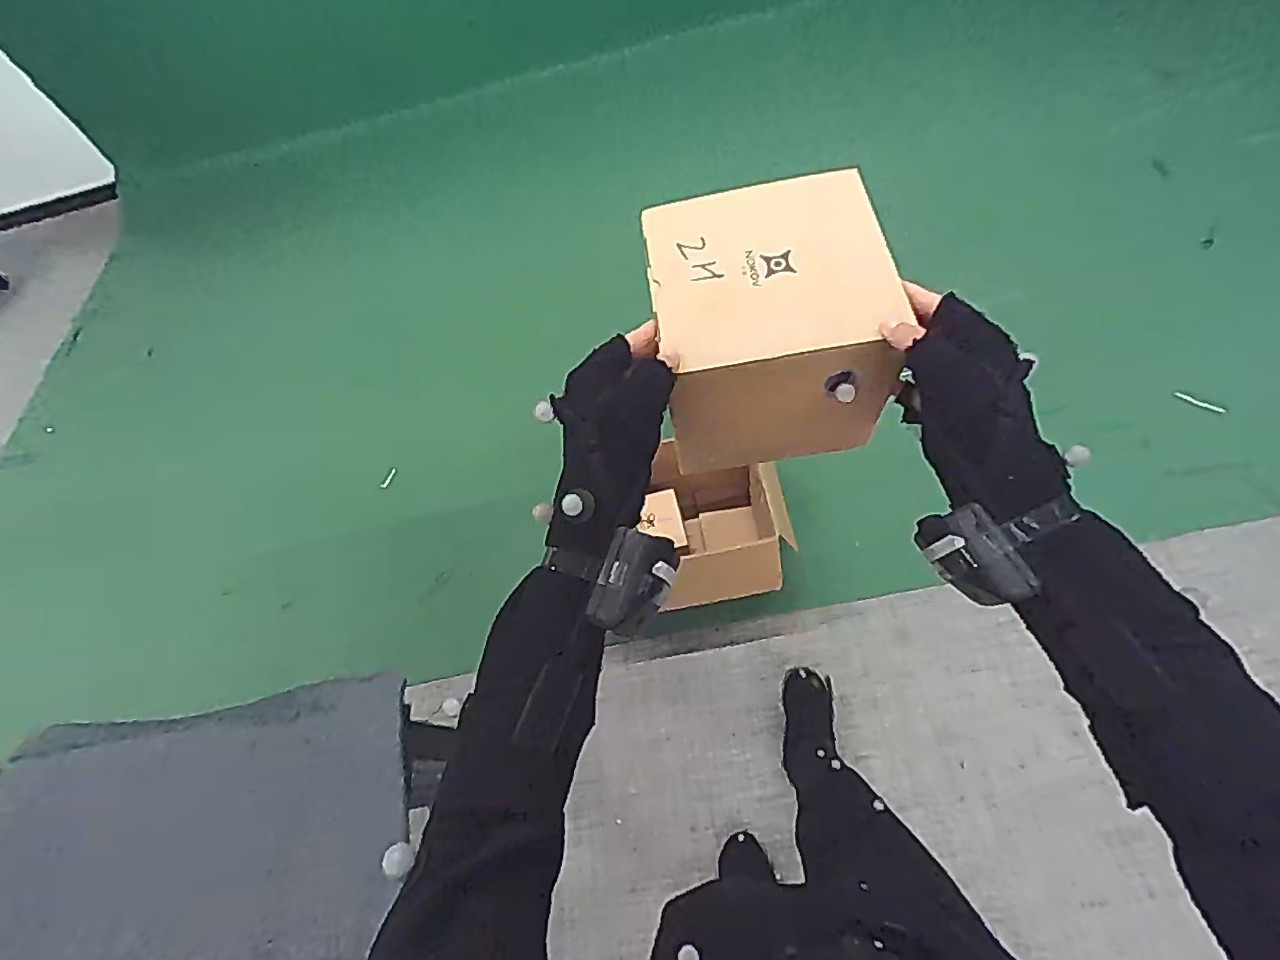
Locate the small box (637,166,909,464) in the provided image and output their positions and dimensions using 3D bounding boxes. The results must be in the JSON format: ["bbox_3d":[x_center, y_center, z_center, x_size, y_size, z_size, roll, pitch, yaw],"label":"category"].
[{"bbox_3d":[0.100,-0.129,0.474,0.179,0.176,0.168,-9,65,6],"label":"small box"}]
